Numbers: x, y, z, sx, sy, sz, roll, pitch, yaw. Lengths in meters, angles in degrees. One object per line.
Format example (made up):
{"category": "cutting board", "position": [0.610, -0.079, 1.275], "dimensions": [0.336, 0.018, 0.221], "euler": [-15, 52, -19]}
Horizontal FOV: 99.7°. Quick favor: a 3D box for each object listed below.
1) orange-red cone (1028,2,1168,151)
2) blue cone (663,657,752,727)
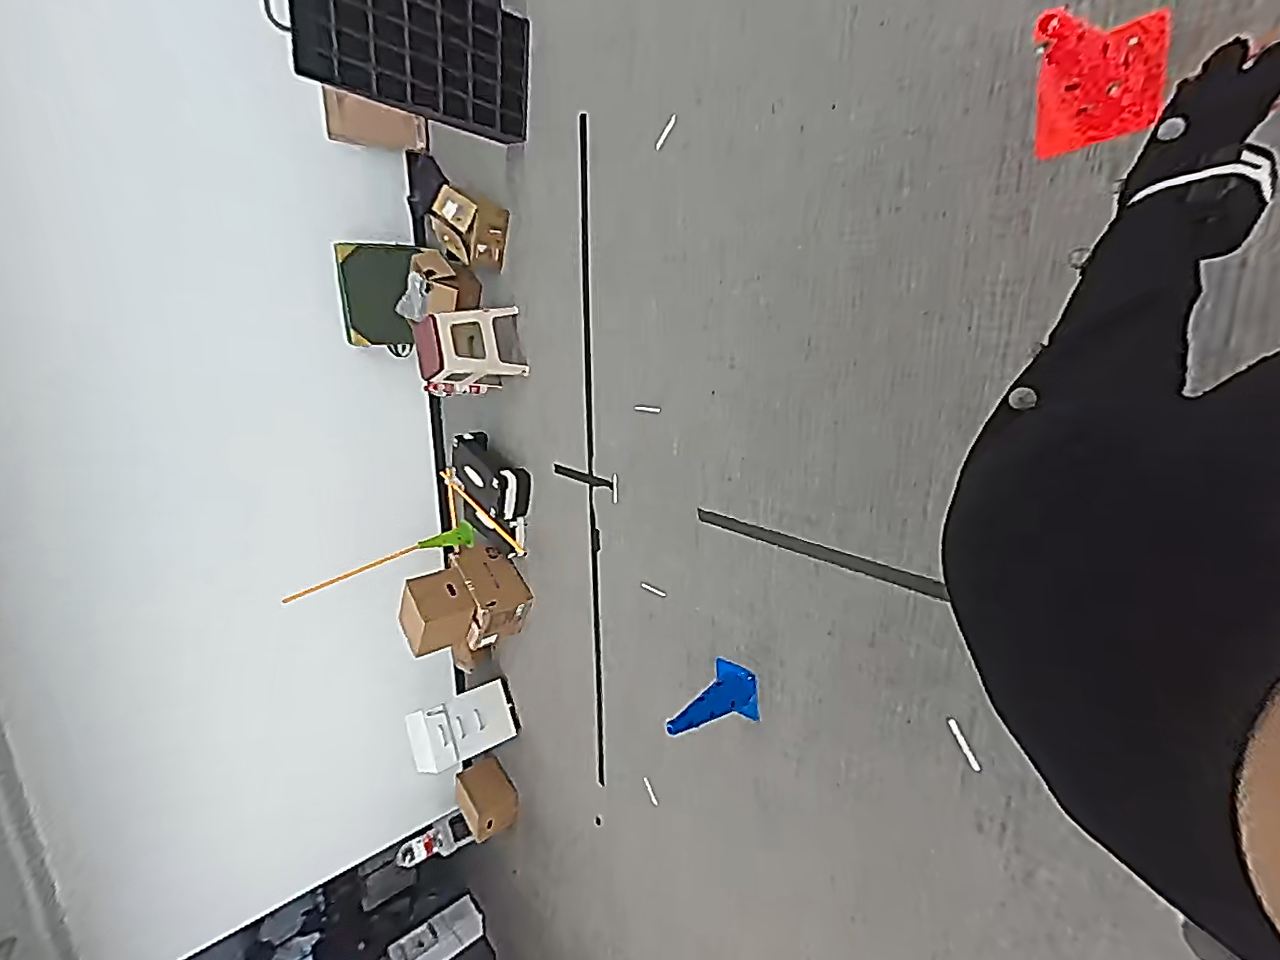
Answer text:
{"category": "orange-red cone", "position": [0.766, -0.758, 0.964], "dimensions": [0.199, 0.360, 0.198], "euler": [10, 106, 50]}
{"category": "blue cone", "position": [0.233, 0.822, 1.990], "dimensions": [0.193, 0.380, 0.192], "euler": [8, 105, 49]}
